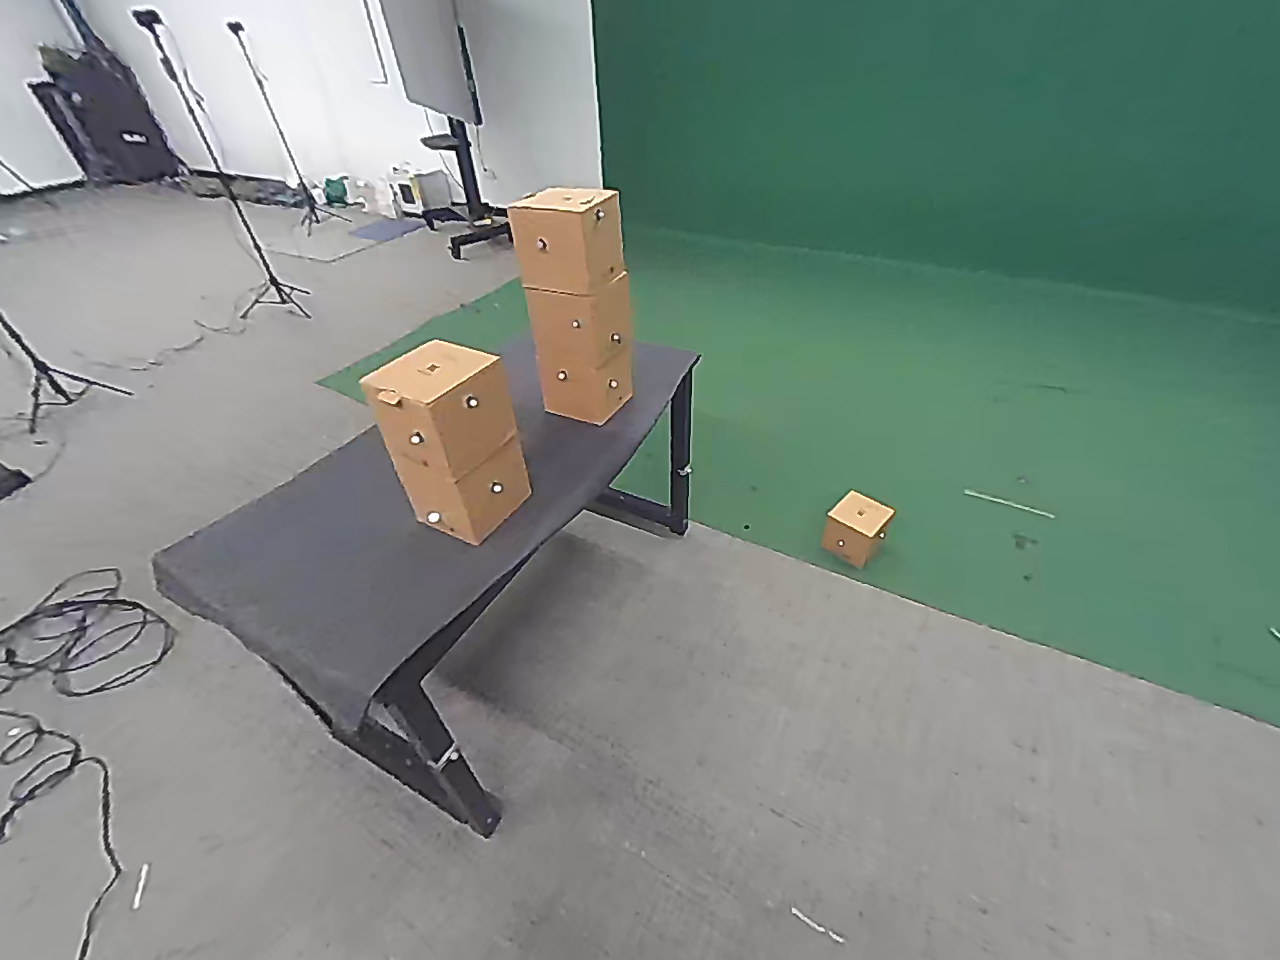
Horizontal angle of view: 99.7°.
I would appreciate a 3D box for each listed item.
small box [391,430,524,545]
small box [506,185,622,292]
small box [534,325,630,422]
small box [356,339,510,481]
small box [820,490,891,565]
[{"bbox_3d":[-0.350,-0.005,1.075,0.168,0.176,0.179,18,46,23],"label":"small box"},{"bbox_3d":[-0.153,-0.514,1.151,0.179,0.176,0.168,15,44,21],"label":"small box"},{"bbox_3d":[-0.138,-0.267,1.367,0.179,0.176,0.168,17,45,23],"label":"small box"},{"bbox_3d":[-0.355,-0.125,0.966,0.168,0.176,0.179,20,45,23],"label":"small box"},{"bbox_3d":[0.762,0.172,1.933,0.168,0.176,0.179,33,52,32],"label":"small box"}]
